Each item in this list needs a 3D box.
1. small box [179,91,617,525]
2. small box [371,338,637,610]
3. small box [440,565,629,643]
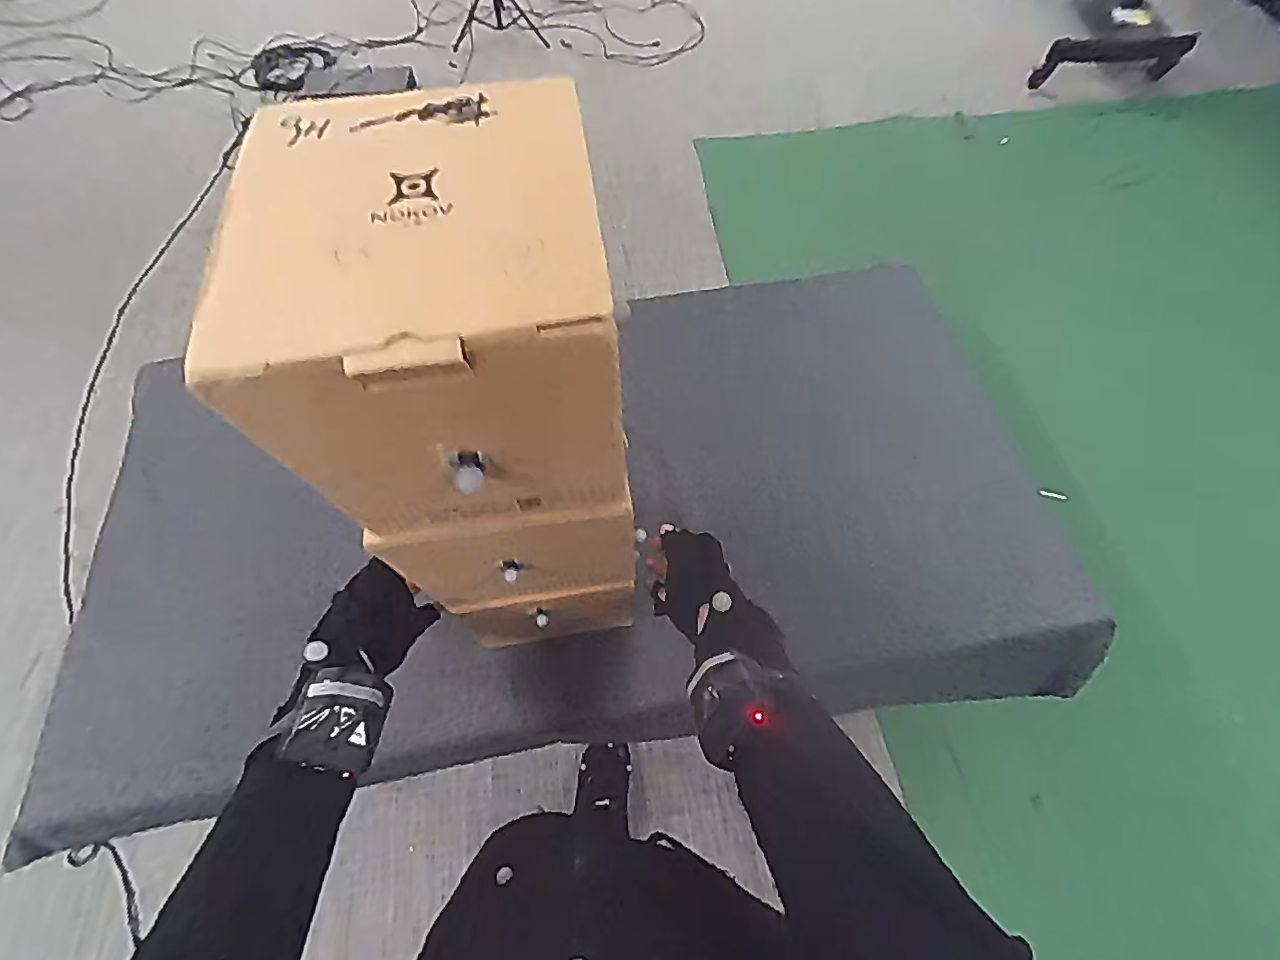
[{"bbox_3d":[-0.106,-0.082,0.317,0.168,0.176,0.179,-7,64,-3],"label":"small box"},{"bbox_3d":[-0.103,0.000,0.458,0.179,0.176,0.168,-10,64,-6],"label":"small box"},{"bbox_3d":[-0.109,0.076,0.604,0.179,0.176,0.168,-7,64,-5],"label":"small box"}]
